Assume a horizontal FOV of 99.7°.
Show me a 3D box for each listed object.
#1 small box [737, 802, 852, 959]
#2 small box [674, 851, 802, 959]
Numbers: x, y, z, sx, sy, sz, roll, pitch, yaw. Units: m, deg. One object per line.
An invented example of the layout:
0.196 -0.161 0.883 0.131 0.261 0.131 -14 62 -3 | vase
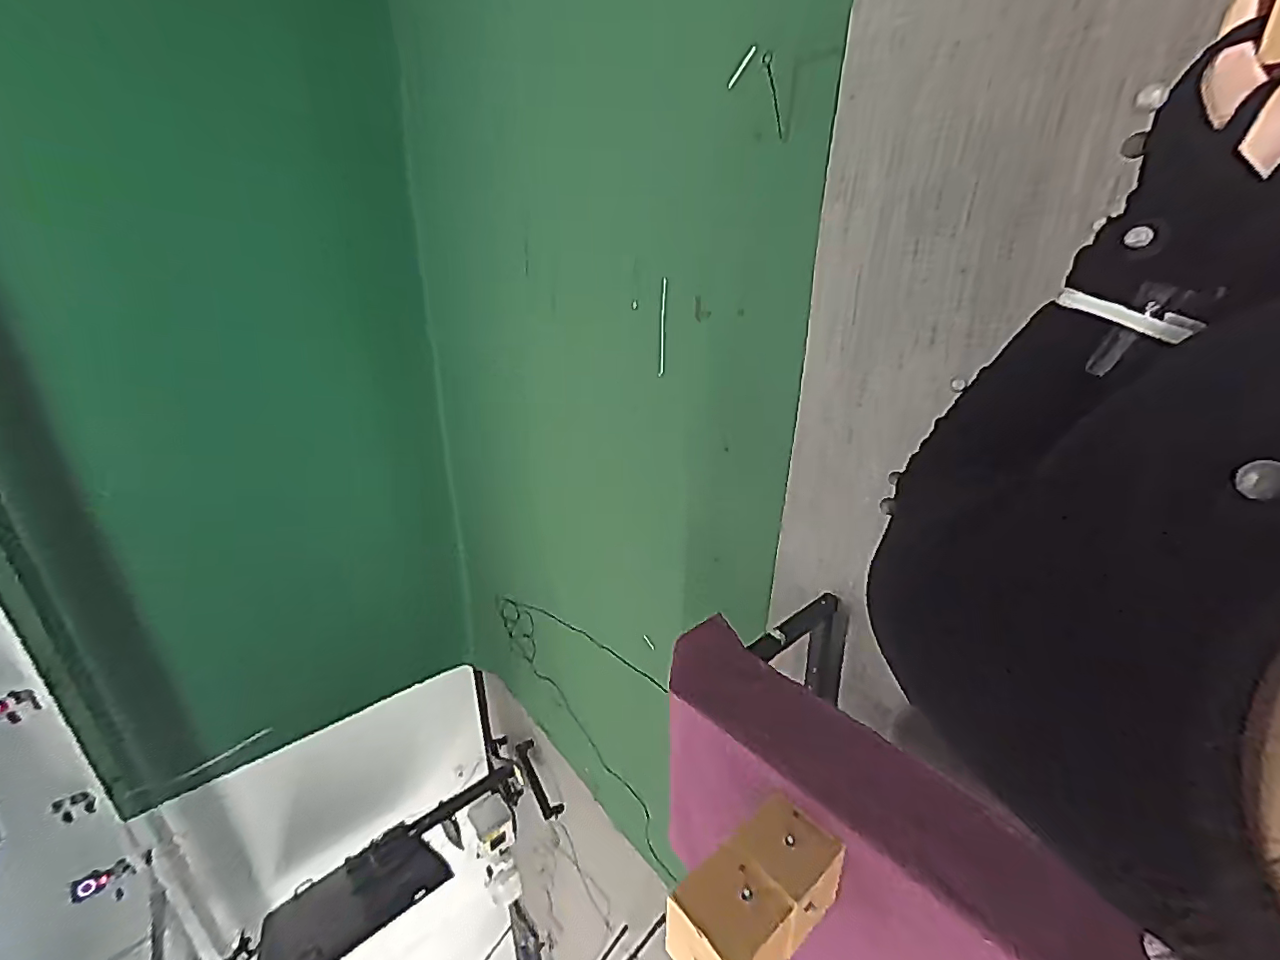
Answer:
0.309 0.808 1.098 0.168 0.176 0.179 23 122 45 | small box
0.182 0.855 1.007 0.168 0.176 0.179 23 121 45 | small box
